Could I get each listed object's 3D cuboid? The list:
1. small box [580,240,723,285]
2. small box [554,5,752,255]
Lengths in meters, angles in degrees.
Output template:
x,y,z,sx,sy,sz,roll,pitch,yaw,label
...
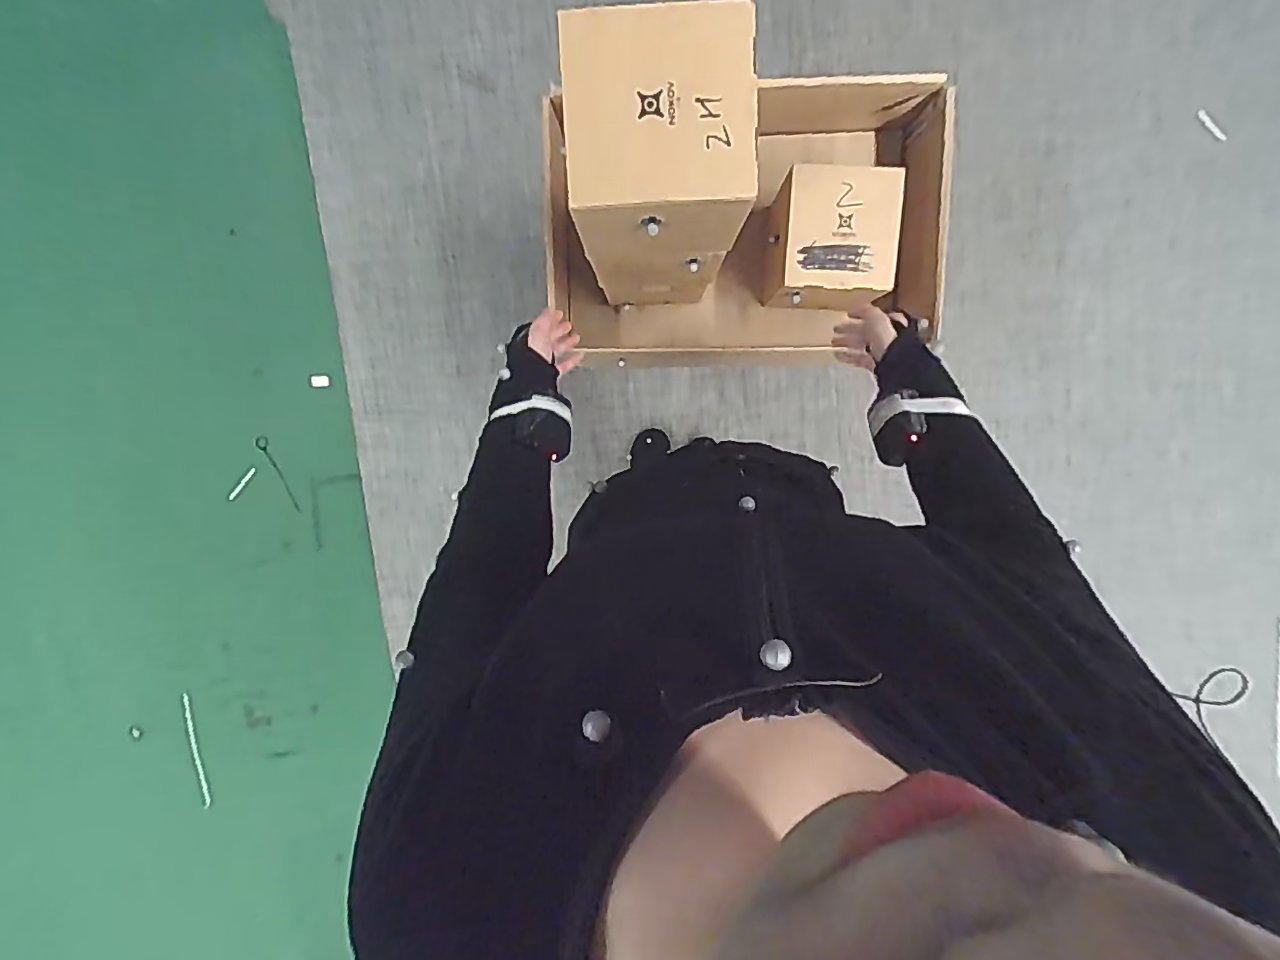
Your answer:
x,y,z,sx,sy,sz,roll,pitch,yaw,label
0.013,-0.365,0.727,0.179,0.176,0.168,-2,98,0,small box
0.014,-0.342,0.563,0.179,0.176,0.168,-2,98,0,small box
